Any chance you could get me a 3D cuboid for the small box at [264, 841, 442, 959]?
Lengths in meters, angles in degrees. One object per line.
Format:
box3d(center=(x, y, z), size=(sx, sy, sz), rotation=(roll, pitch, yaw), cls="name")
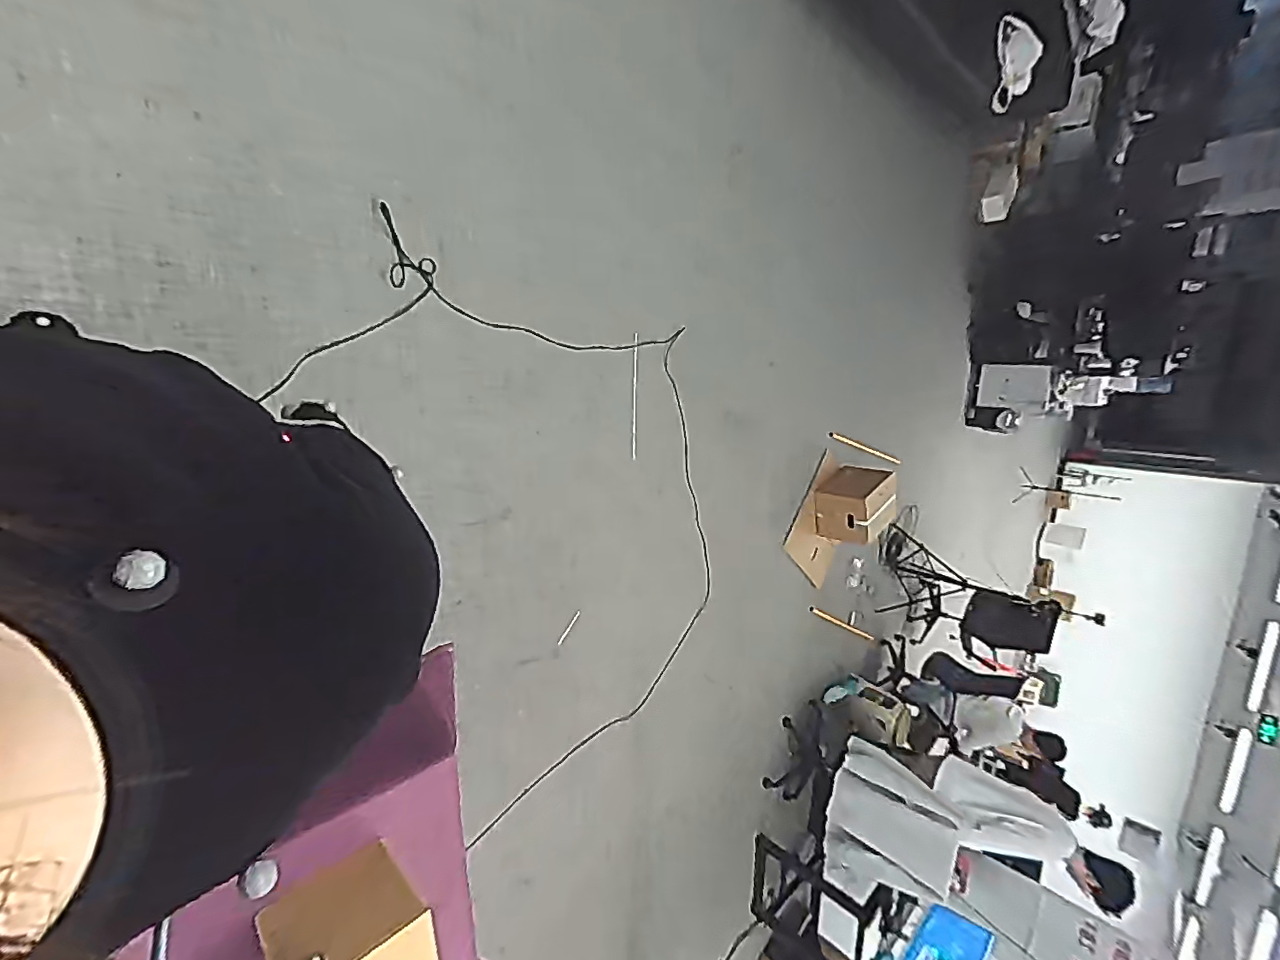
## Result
box3d(center=(-0.399, 0.668, 0.762), size=(0.179, 0.176, 0.168), rotation=(-14, 109, -41), cls="small box")
